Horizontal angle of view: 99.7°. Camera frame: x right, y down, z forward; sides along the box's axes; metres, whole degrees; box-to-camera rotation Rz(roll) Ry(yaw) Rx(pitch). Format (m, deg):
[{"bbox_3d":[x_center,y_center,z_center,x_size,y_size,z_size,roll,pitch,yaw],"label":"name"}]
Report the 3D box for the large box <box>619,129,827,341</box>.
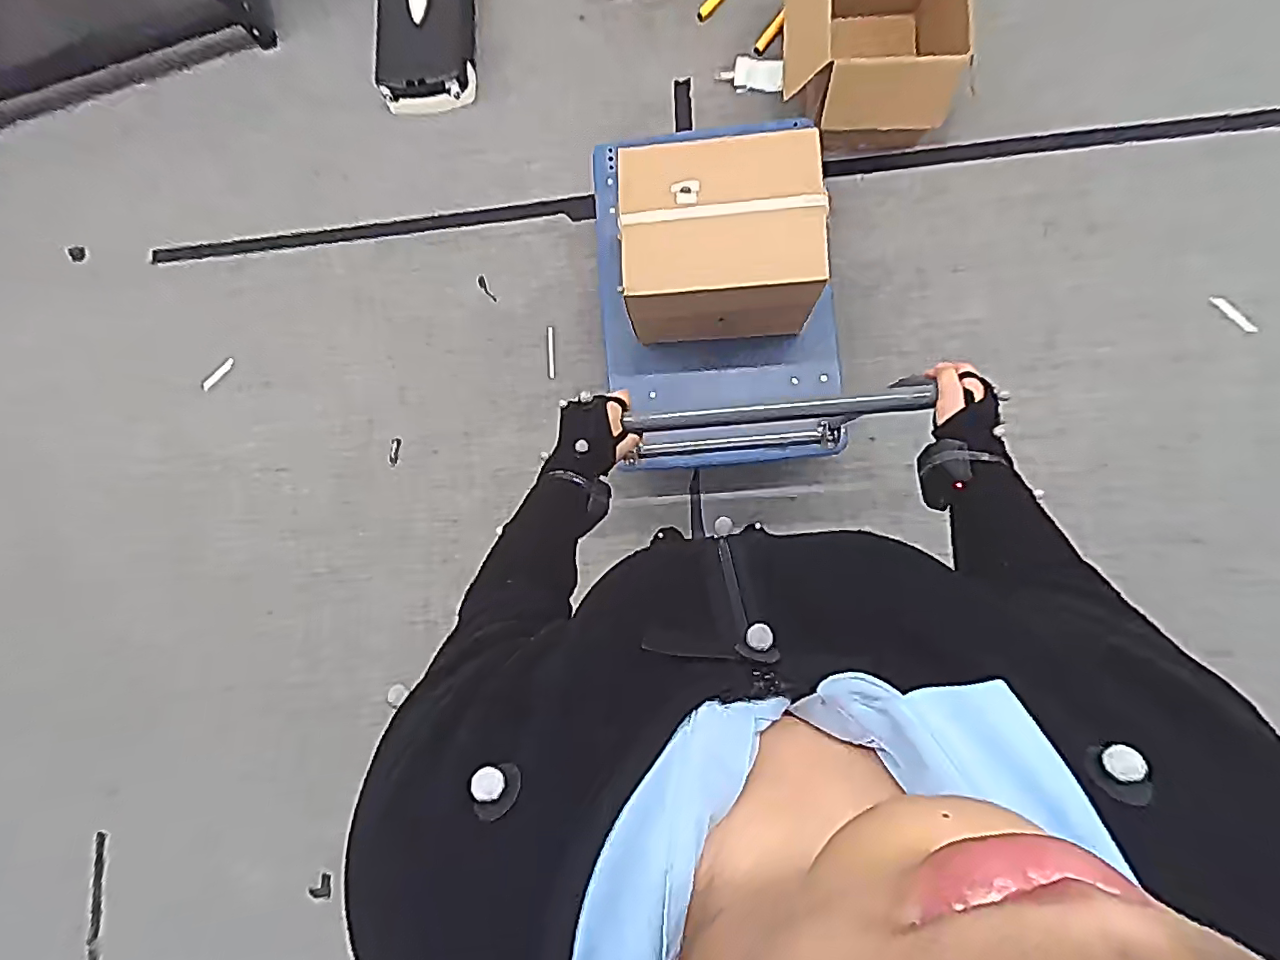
[{"bbox_3d":[0.180,-0.527,1.234,0.408,0.320,0.320,-3,85,7],"label":"large box"}]
